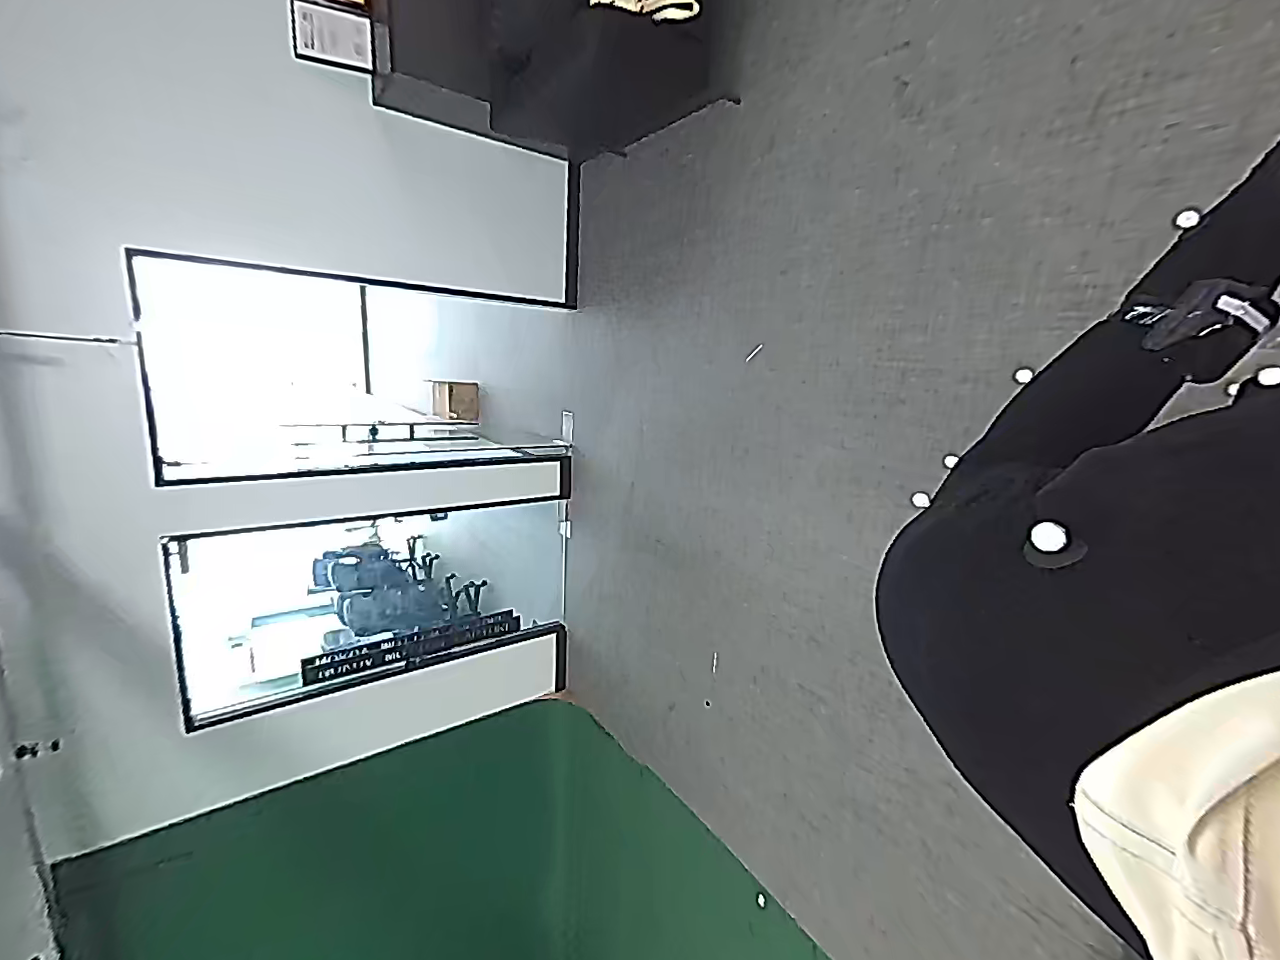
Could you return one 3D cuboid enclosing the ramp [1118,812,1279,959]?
[{"bbox_3d":[1.288,1.300,1.130,0.509,0.206,0.991,16,107,54],"label":"ramp"}]
